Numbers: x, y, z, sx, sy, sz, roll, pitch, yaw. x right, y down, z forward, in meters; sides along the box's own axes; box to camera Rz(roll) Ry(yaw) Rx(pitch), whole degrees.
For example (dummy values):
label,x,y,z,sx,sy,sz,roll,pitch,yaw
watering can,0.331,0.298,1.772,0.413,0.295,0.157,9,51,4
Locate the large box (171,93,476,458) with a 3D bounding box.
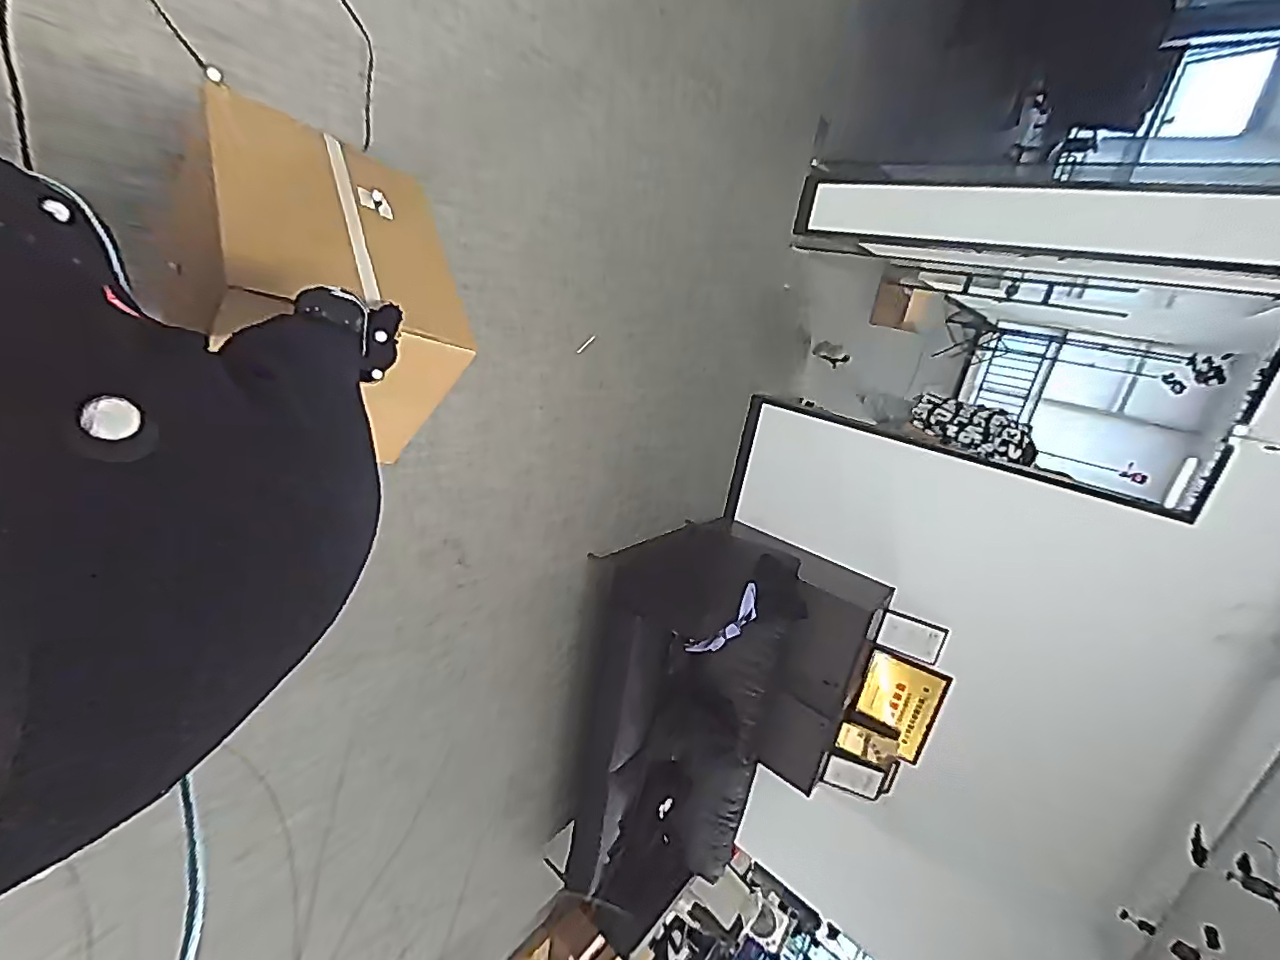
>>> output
label,x,y,z,sx,sy,sz,roll,pitch,yaw
large box,-0.520,-0.285,0.868,0.320,0.408,0.320,-39,153,32
